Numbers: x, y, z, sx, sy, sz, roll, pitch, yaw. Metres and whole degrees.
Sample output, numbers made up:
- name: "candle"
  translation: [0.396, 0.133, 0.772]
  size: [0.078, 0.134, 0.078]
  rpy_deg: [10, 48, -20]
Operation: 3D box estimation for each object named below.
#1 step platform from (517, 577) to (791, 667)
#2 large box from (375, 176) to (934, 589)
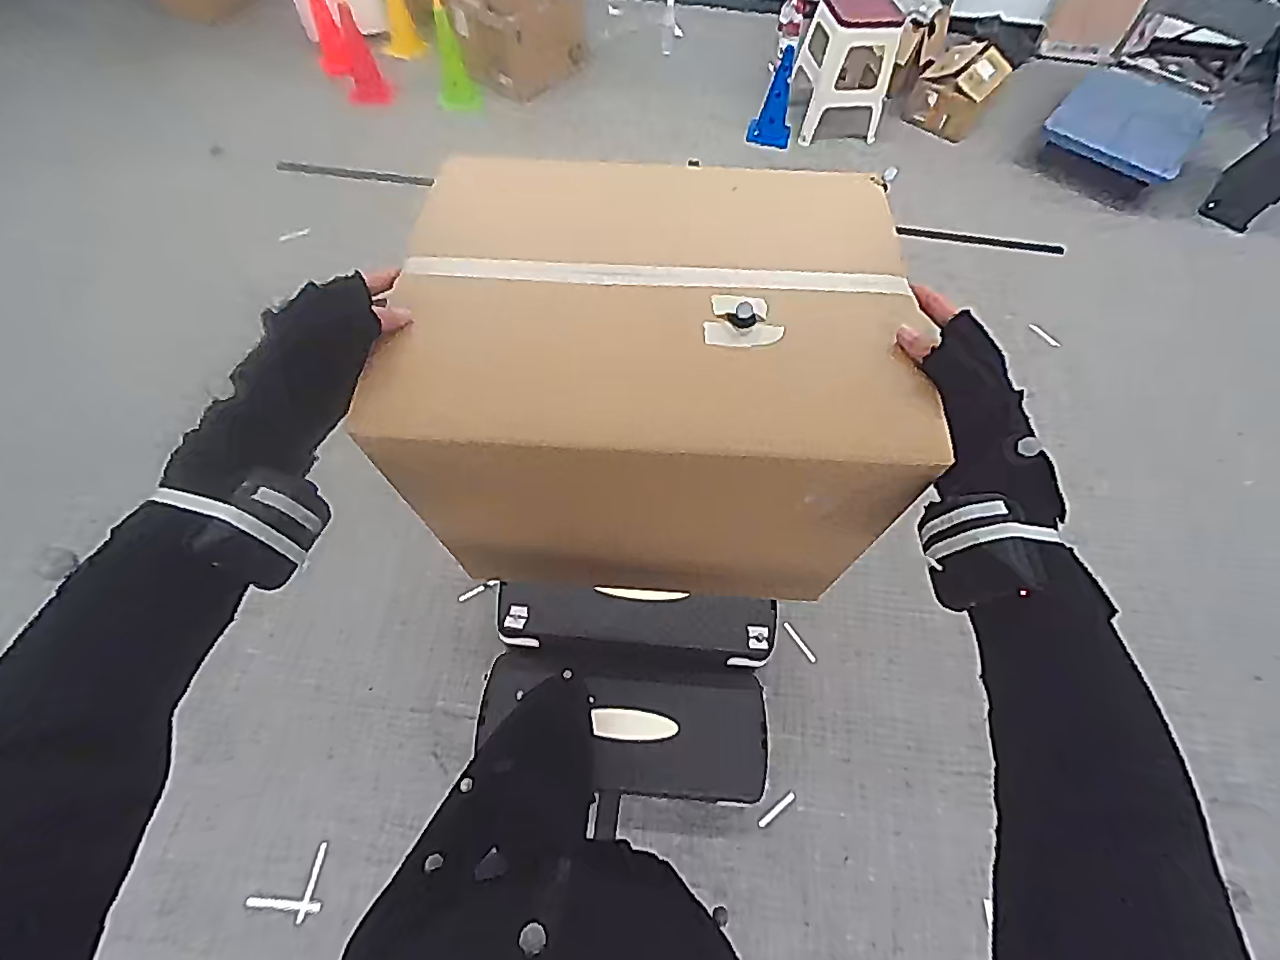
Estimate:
- name: "step platform"
  translation: [0.034, 0.297, 1.389]
  size: [0.684, 0.204, 0.286]
  rpy_deg: [5, 61, -1]
- name: "large box"
  translation: [0.012, -0.082, 0.579]
  size: [0.408, 0.320, 0.320]
  rpy_deg: [3, 62, 1]
